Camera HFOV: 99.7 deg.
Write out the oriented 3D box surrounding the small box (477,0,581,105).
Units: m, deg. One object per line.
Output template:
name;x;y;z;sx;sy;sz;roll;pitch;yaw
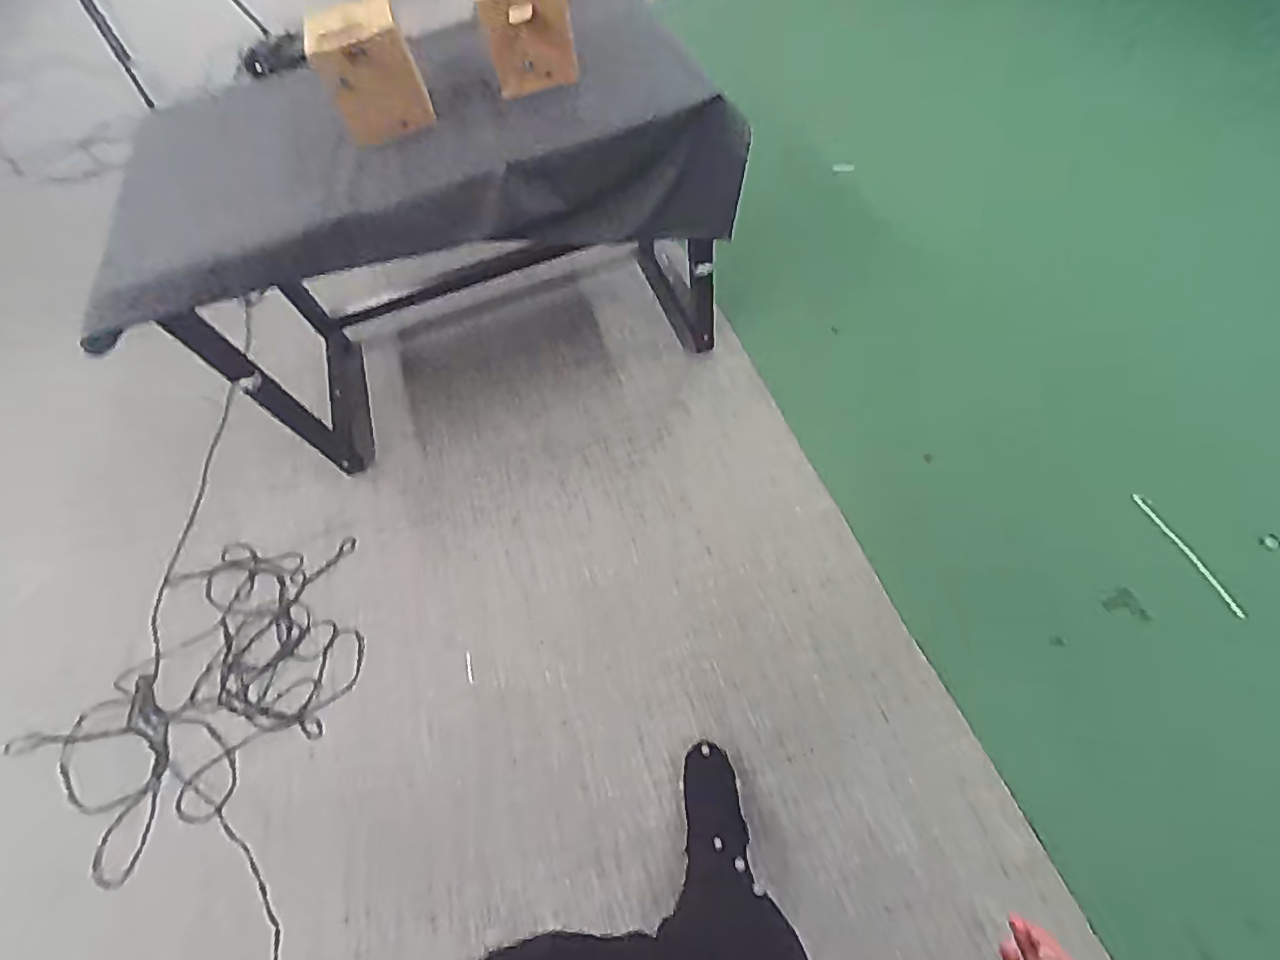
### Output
small box;-0.223;-0.909;1.105;0.168;0.176;0.179;-11;61;2
